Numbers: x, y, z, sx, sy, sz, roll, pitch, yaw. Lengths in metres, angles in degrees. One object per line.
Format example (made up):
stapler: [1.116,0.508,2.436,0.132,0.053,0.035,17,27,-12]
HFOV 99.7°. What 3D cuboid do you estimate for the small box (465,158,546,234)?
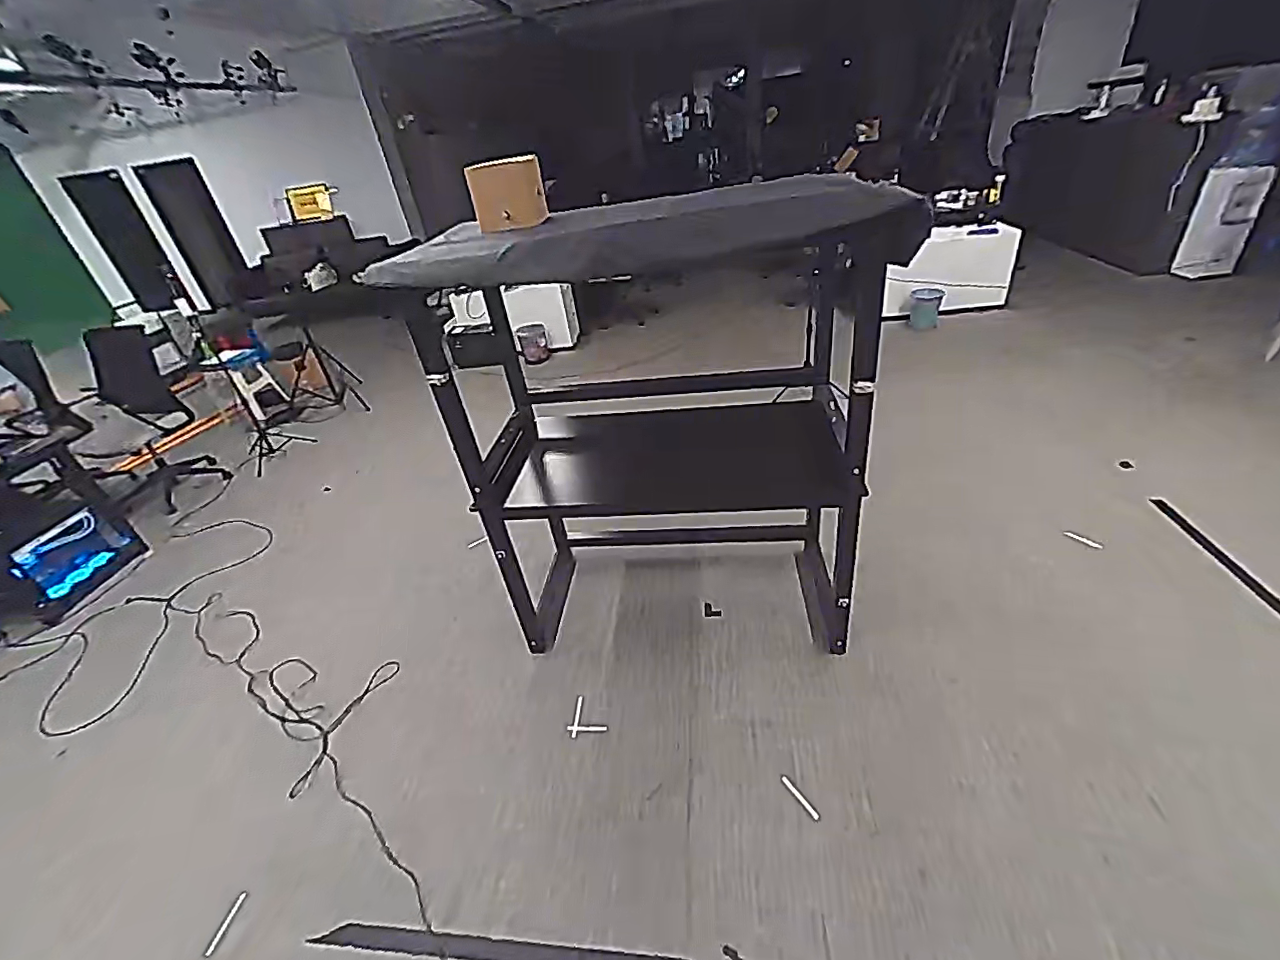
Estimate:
small box: [-0.384,-0.832,1.586,0.179,0.176,0.168,-3,34,6]
